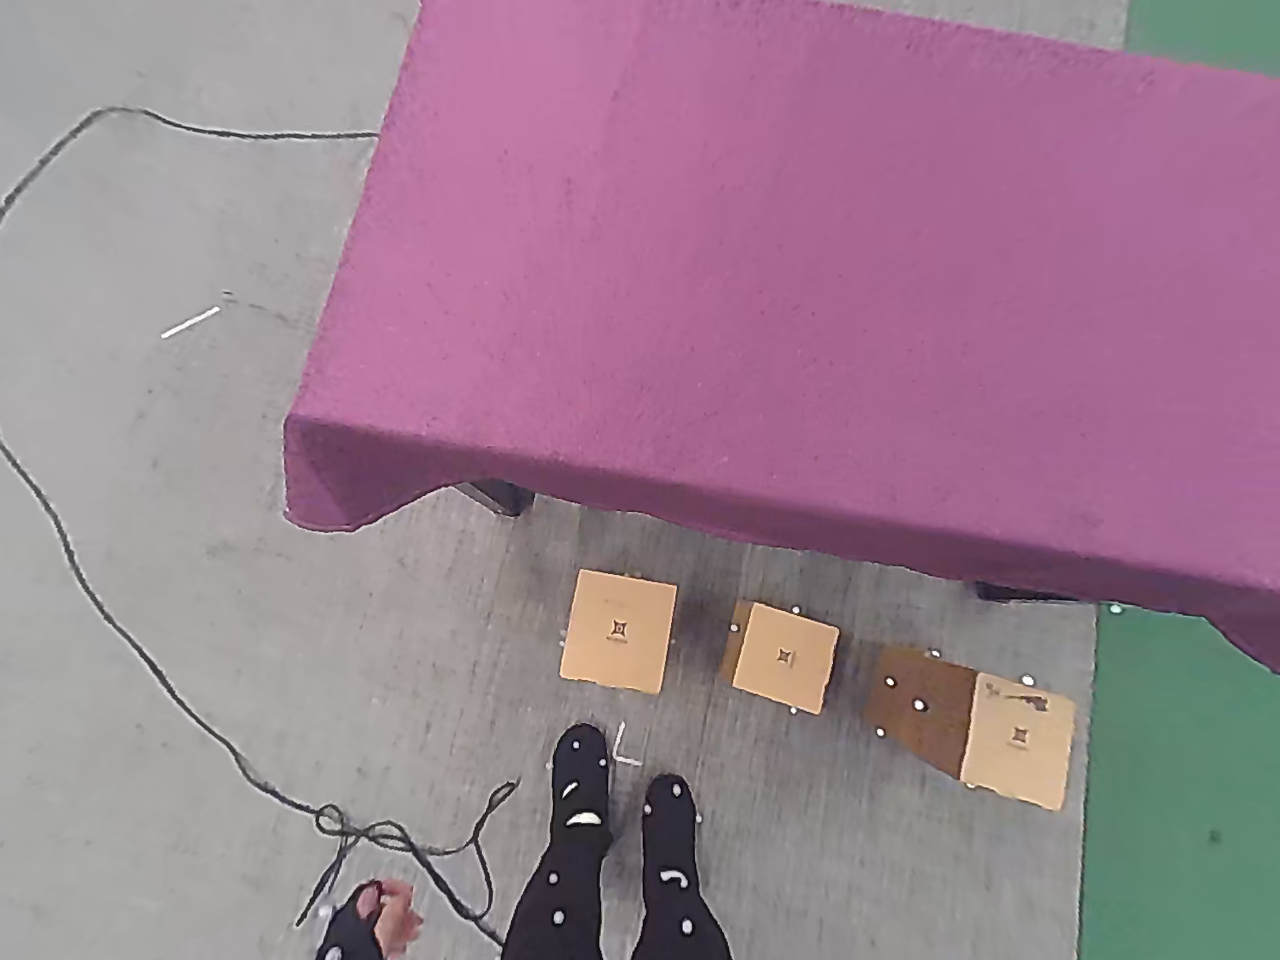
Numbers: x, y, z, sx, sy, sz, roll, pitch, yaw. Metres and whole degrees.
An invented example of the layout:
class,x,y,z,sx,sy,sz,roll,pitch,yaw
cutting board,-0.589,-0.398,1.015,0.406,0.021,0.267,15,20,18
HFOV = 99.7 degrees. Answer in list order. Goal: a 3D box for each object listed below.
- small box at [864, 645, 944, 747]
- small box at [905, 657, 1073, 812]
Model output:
class,x,y,z,sx,sy,sz,roll,pitch,yaw
small box,0.582,0.453,1.099,0.168,0.176,0.179,22,78,2
small box,0.589,0.426,0.935,0.168,0.176,0.179,18,80,0
